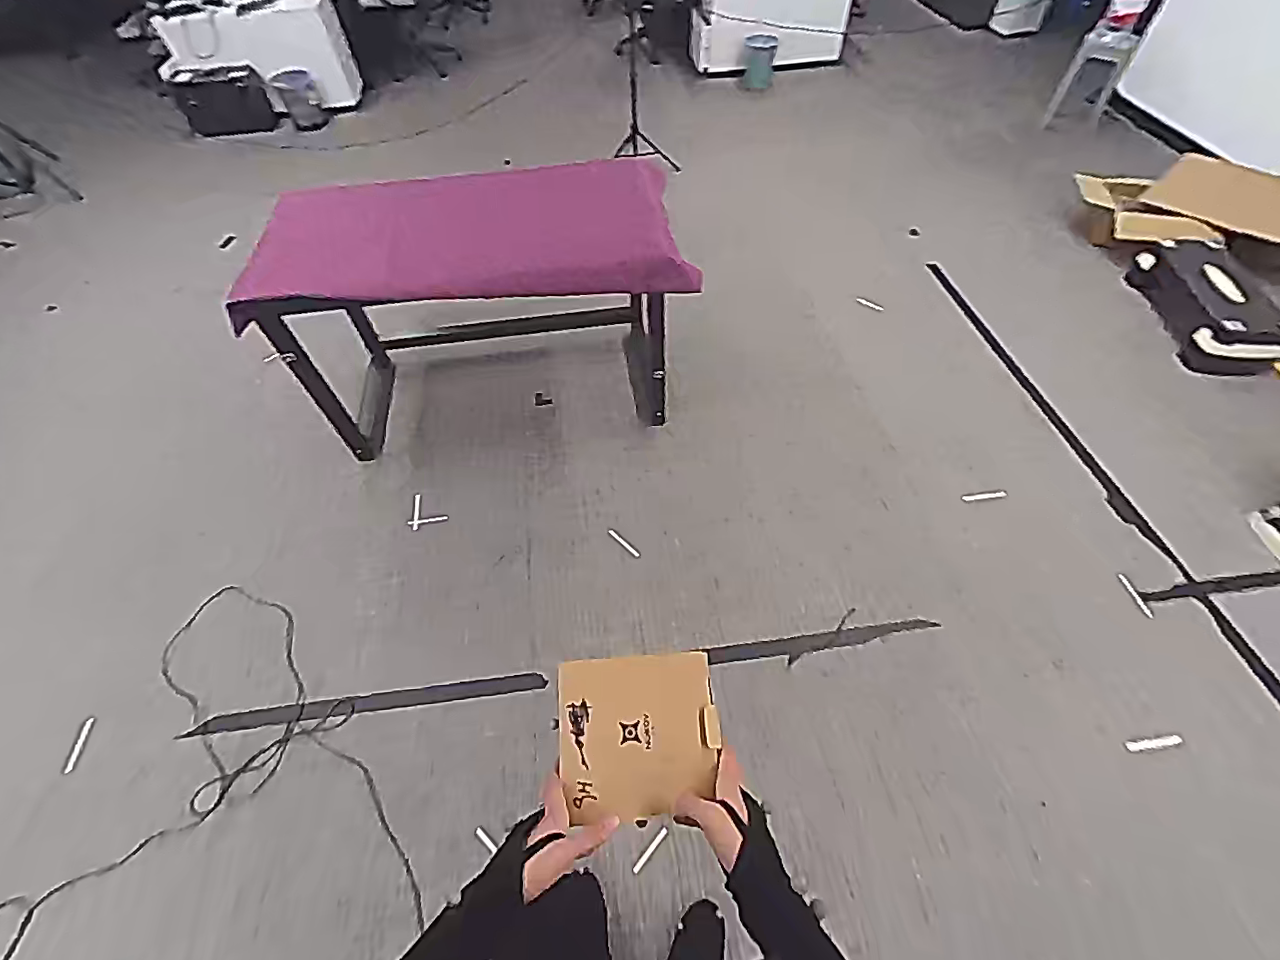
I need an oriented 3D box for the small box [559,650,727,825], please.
[{"bbox_3d":[-0.005,0.310,0.657,0.179,0.176,0.168,-3,62,-4],"label":"small box"}]
